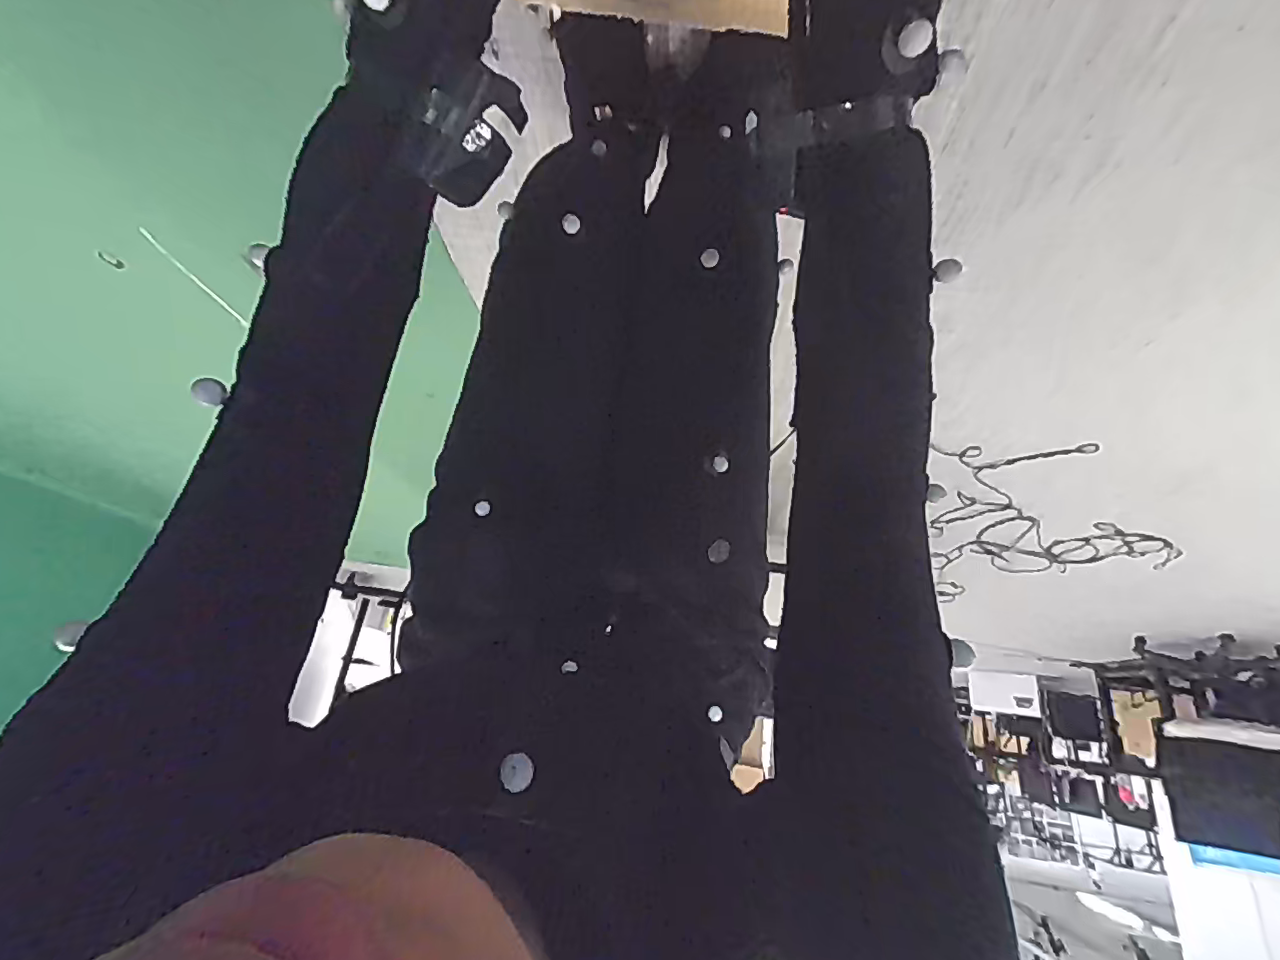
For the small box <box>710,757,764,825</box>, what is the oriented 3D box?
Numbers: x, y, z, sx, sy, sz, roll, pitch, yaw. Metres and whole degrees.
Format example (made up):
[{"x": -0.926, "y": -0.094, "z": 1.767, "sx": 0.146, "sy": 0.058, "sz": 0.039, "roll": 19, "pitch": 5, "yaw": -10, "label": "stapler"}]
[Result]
[{"x": 0.325, "y": 1.042, "z": 1.826, "sx": 0.168, "sy": 0.176, "sz": 0.179, "roll": 6, "pitch": 158, "yaw": 10, "label": "small box"}]
